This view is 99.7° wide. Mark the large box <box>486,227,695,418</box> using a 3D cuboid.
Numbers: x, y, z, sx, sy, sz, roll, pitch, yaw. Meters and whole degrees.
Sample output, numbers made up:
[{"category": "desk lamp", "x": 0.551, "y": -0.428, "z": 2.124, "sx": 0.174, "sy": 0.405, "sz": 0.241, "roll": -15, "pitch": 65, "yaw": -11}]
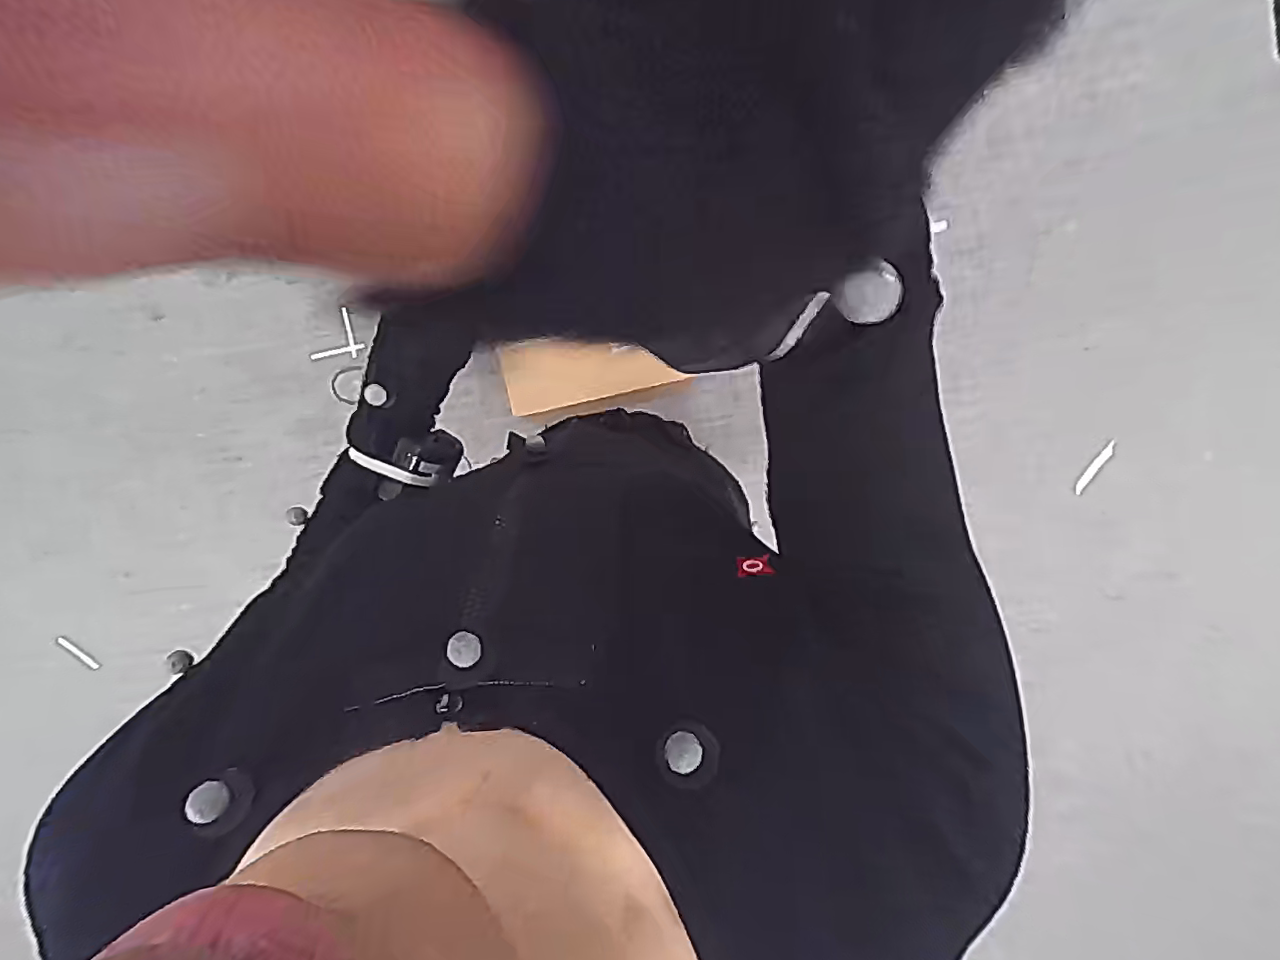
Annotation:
[{"category": "large box", "x": -0.103, "y": -0.352, "z": 1.310, "sx": 0.408, "sy": 0.320, "sz": 0.320, "roll": -13, "pitch": 93, "yaw": 2}]
